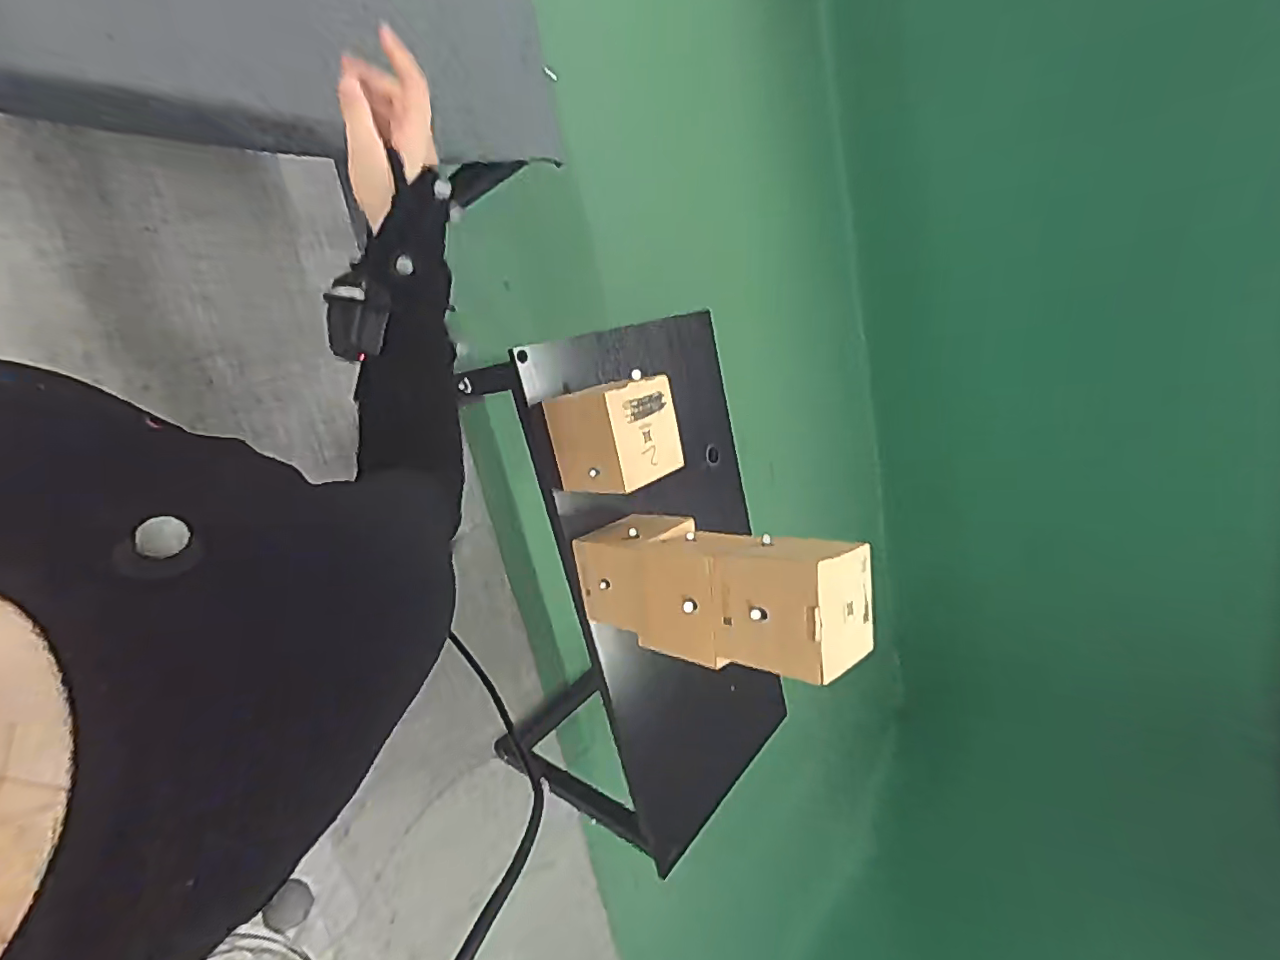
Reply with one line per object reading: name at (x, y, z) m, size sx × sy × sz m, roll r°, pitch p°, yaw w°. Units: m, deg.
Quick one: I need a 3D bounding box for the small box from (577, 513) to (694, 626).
small box at (-0.004, 0.168, 1.043) m, size 0.179 × 0.176 × 0.168 m, roll -20°, pitch 106°, yaw -44°

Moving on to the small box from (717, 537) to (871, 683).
small box at (0.228, 0.182, 0.814) m, size 0.179 × 0.176 × 0.168 m, roll -5°, pitch 94°, yaw -45°

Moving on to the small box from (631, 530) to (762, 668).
small box at (0.101, 0.190, 0.919) m, size 0.168 × 0.176 × 0.179 m, roll -9°, pitch 97°, yaw -45°
